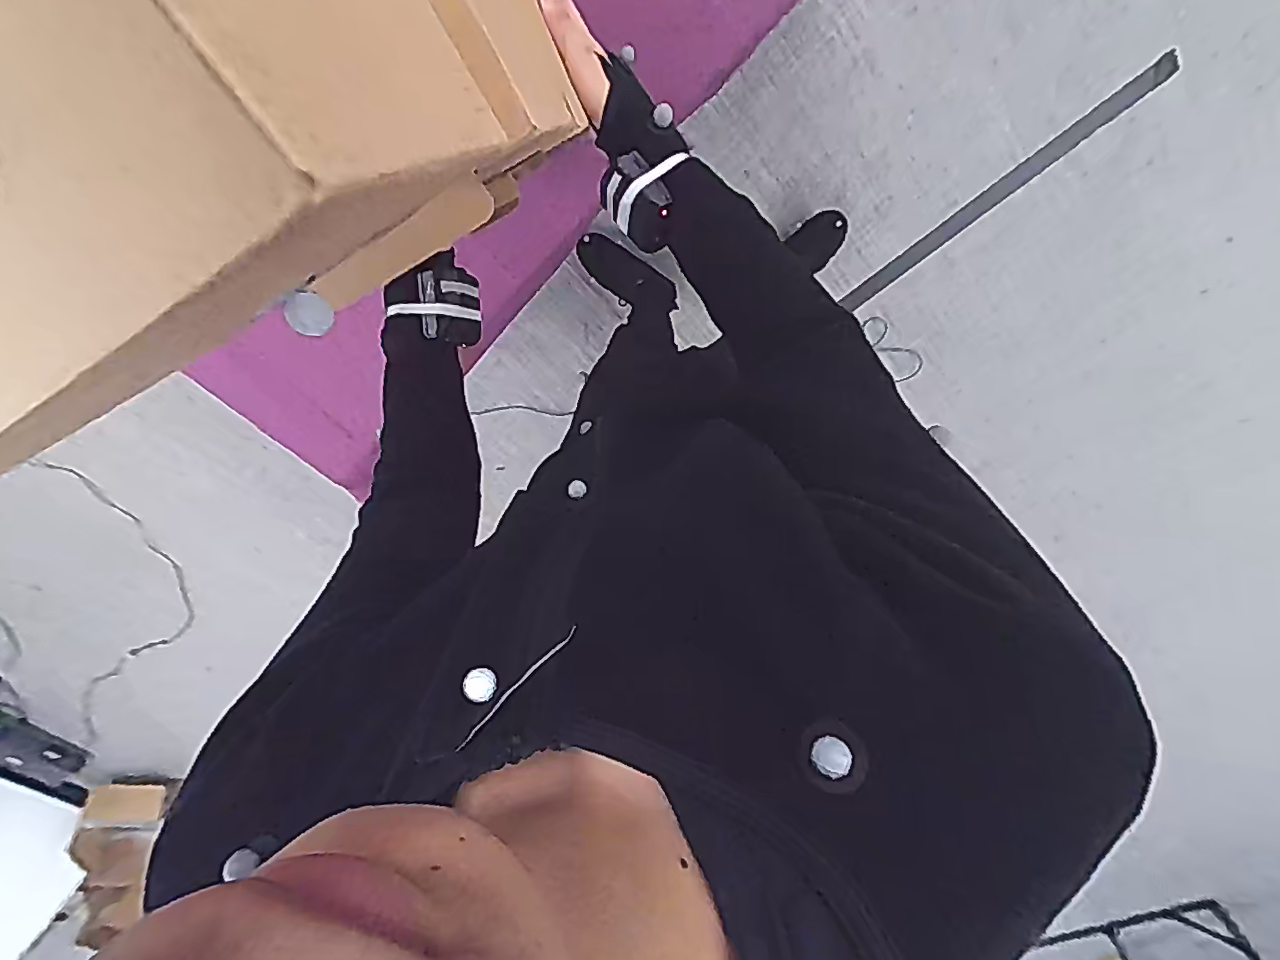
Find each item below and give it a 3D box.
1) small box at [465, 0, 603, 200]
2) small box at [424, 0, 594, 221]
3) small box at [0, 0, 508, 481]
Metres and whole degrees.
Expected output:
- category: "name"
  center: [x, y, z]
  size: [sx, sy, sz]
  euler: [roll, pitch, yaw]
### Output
- category: "small box"
  center: [-0.143, -0.402, 0.513]
  size: [0.168, 0.176, 0.179]
  euler: [-24, 122, 14]
- category: "small box"
  center: [-0.143, -0.304, 0.381]
  size: [0.168, 0.176, 0.179]
  euler: [-21, 123, 13]
- category: "small box"
  center: [-0.152, -0.110, 0.114]
  size: [0.168, 0.176, 0.179]
  euler: [-25, 122, 15]
